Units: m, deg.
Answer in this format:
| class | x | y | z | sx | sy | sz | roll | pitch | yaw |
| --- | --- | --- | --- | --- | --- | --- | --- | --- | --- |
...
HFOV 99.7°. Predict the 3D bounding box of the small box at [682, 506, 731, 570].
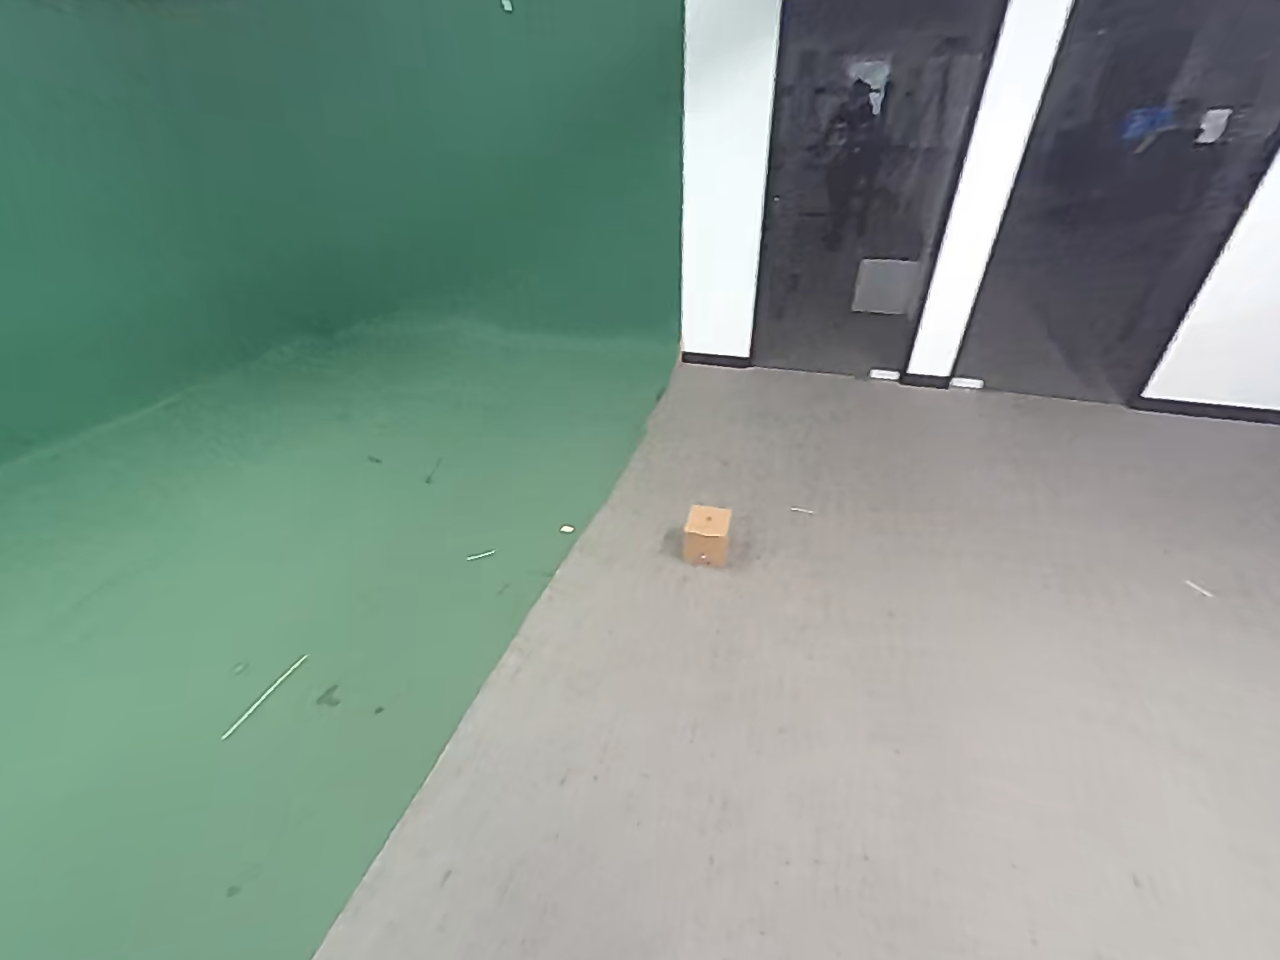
| class | x | y | z | sx | sy | sz | roll | pitch | yaw |
| --- | --- | --- | --- | --- | --- | --- | --- | --- | --- |
| small box | 0.263 | 0.232 | 2.154 | 0.168 | 0.176 | 0.179 | 7 | 36 | 13 |
